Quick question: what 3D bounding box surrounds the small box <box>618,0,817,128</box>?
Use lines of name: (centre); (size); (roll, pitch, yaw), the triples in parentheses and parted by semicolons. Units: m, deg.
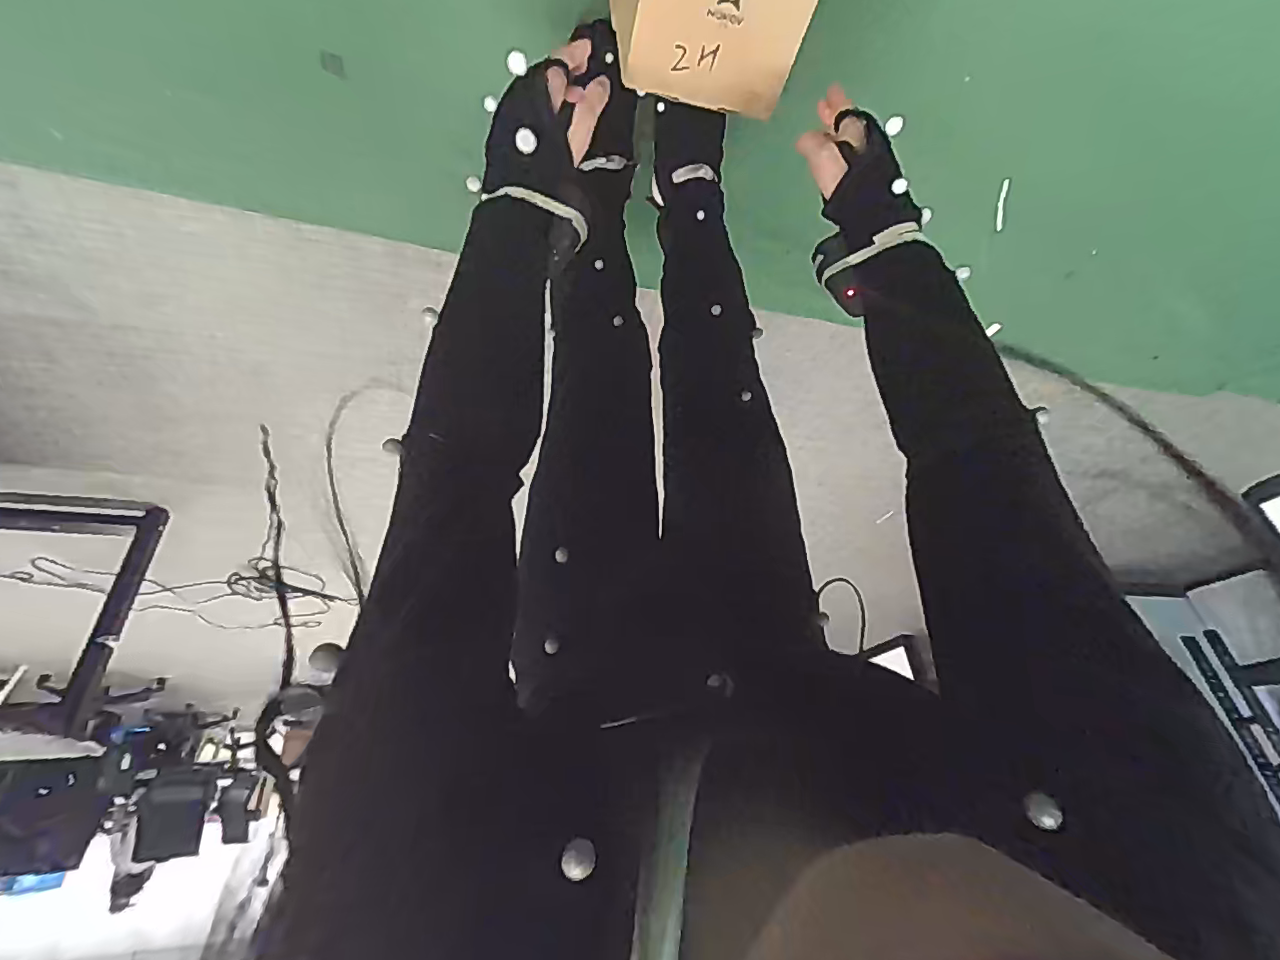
small box: (0.074, -0.505, 0.547); (0.168, 0.176, 0.179); (5, 147, -13)
